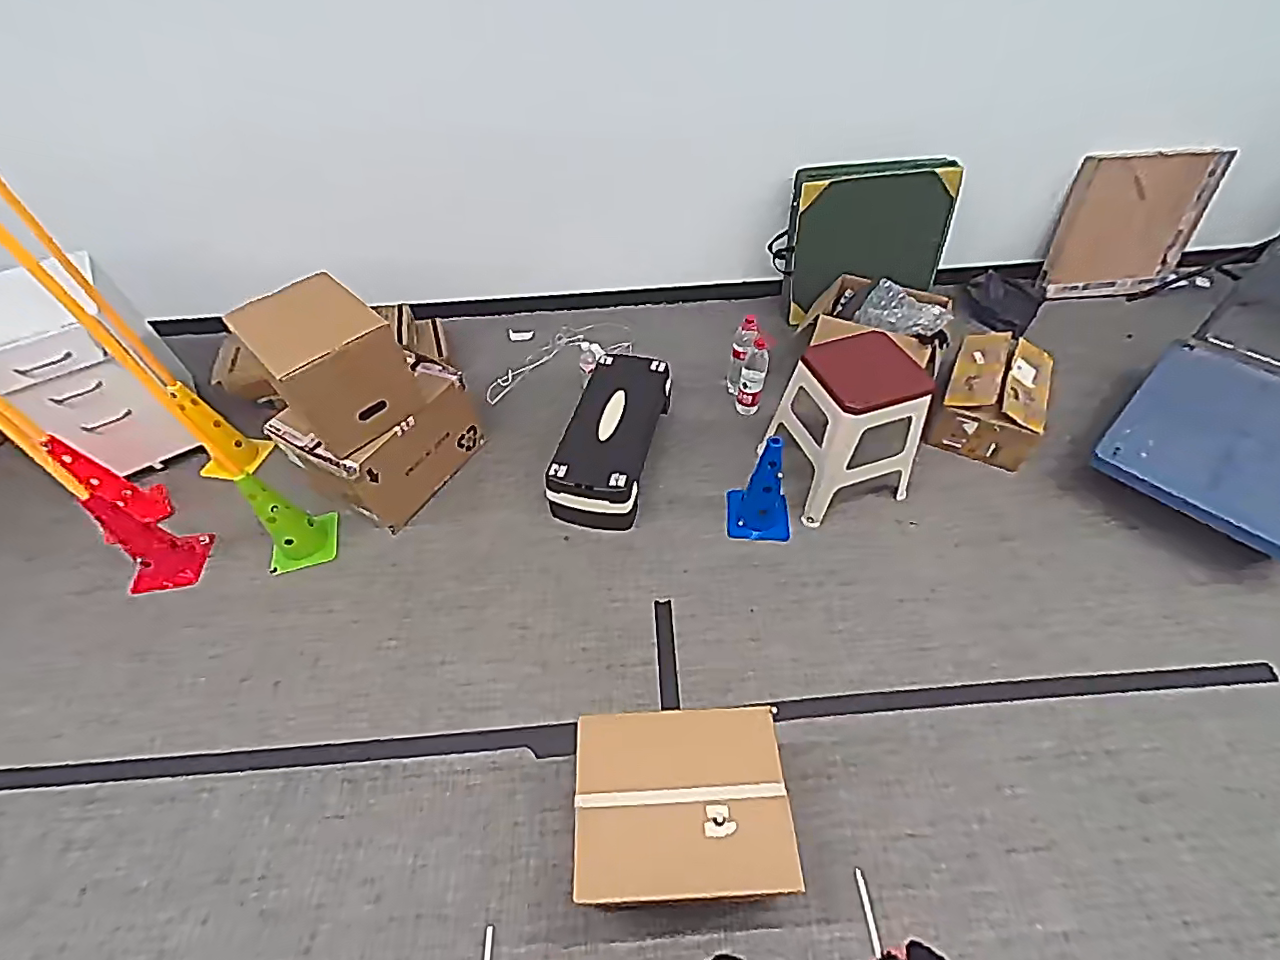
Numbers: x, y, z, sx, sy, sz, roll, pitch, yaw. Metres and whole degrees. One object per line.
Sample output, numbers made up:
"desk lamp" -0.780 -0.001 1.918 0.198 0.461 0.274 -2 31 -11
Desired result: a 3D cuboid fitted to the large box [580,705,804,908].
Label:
"large box" 0.084 0.698 1.151 0.408 0.320 0.320 -3 51 -1
